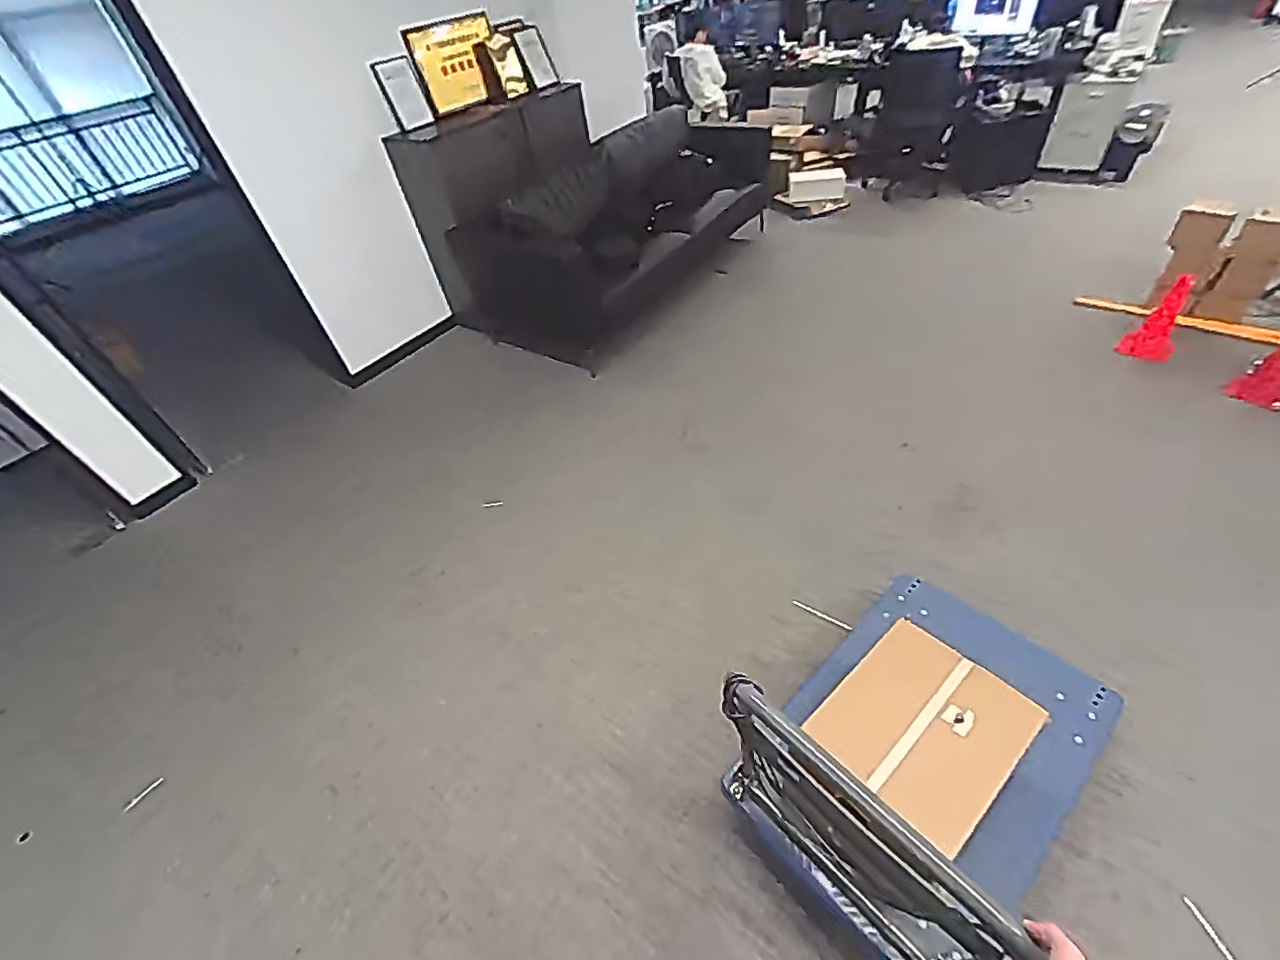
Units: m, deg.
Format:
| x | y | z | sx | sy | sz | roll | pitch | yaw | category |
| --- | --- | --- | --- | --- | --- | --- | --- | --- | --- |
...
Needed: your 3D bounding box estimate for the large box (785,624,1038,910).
| x | y | z | sx | sy | sz | roll | pitch | yaw | category |
| --- | --- | --- | --- | --- | --- | --- | --- | --- | --- |
| 0.567 | 0.612 | 1.183 | 0.408 | 0.320 | 0.320 | -33 | 48 | -24 | large box |
